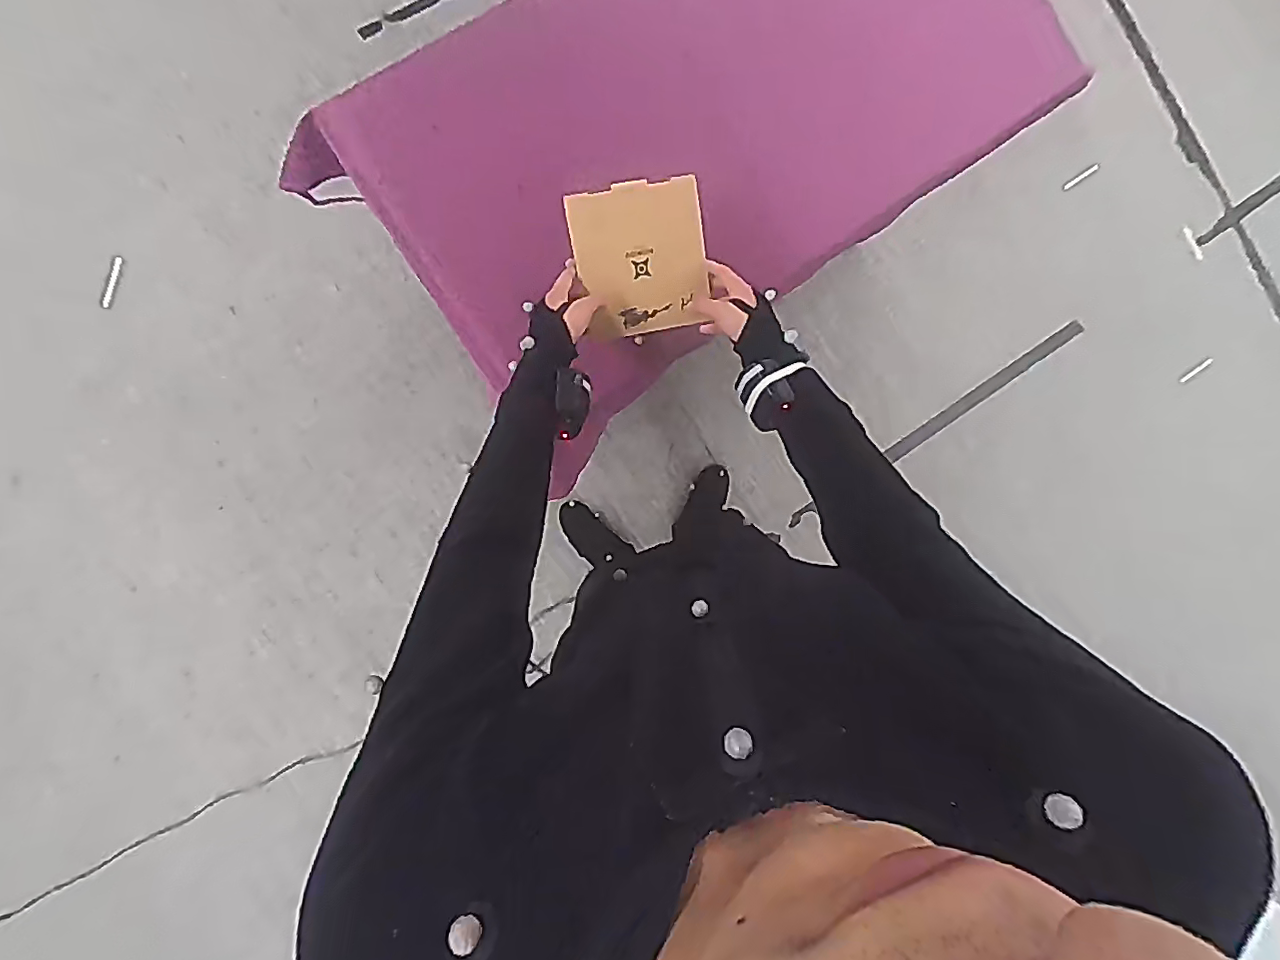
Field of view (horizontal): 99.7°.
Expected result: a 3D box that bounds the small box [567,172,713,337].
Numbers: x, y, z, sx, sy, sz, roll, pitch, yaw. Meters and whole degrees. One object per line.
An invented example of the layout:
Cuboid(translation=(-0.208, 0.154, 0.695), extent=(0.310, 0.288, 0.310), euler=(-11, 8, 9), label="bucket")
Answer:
Cuboid(translation=(-0.006, -0.303, 0.755), extent=(0.168, 0.176, 0.179), euler=(-11, 108, -2), label="small box")
